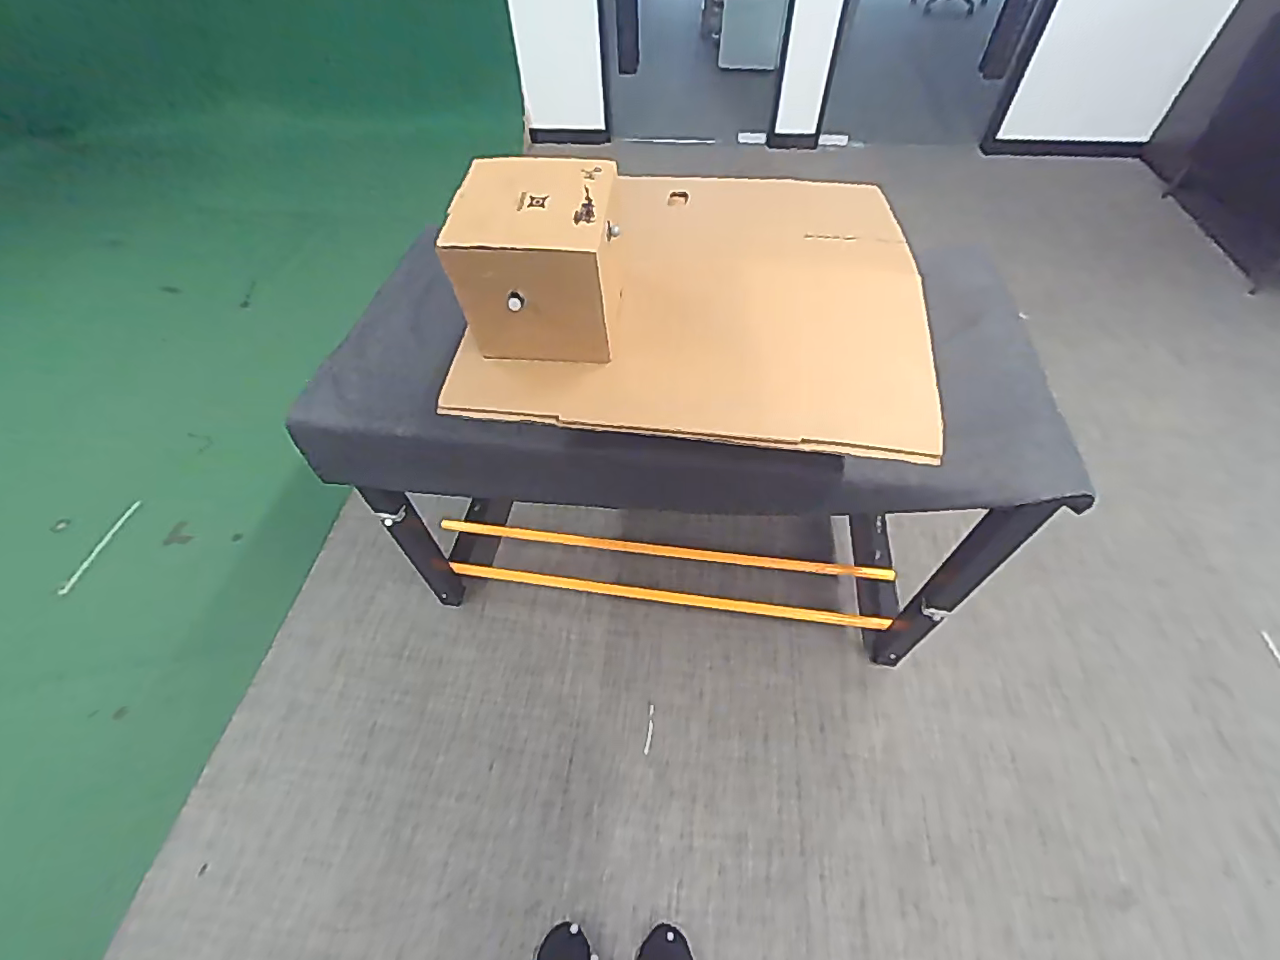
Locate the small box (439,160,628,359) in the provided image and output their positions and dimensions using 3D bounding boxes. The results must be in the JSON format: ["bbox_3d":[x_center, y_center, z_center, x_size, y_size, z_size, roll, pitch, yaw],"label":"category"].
[{"bbox_3d":[-0.116,-0.268,0.674,0.179,0.176,0.168,3,61,6],"label":"small box"}]
